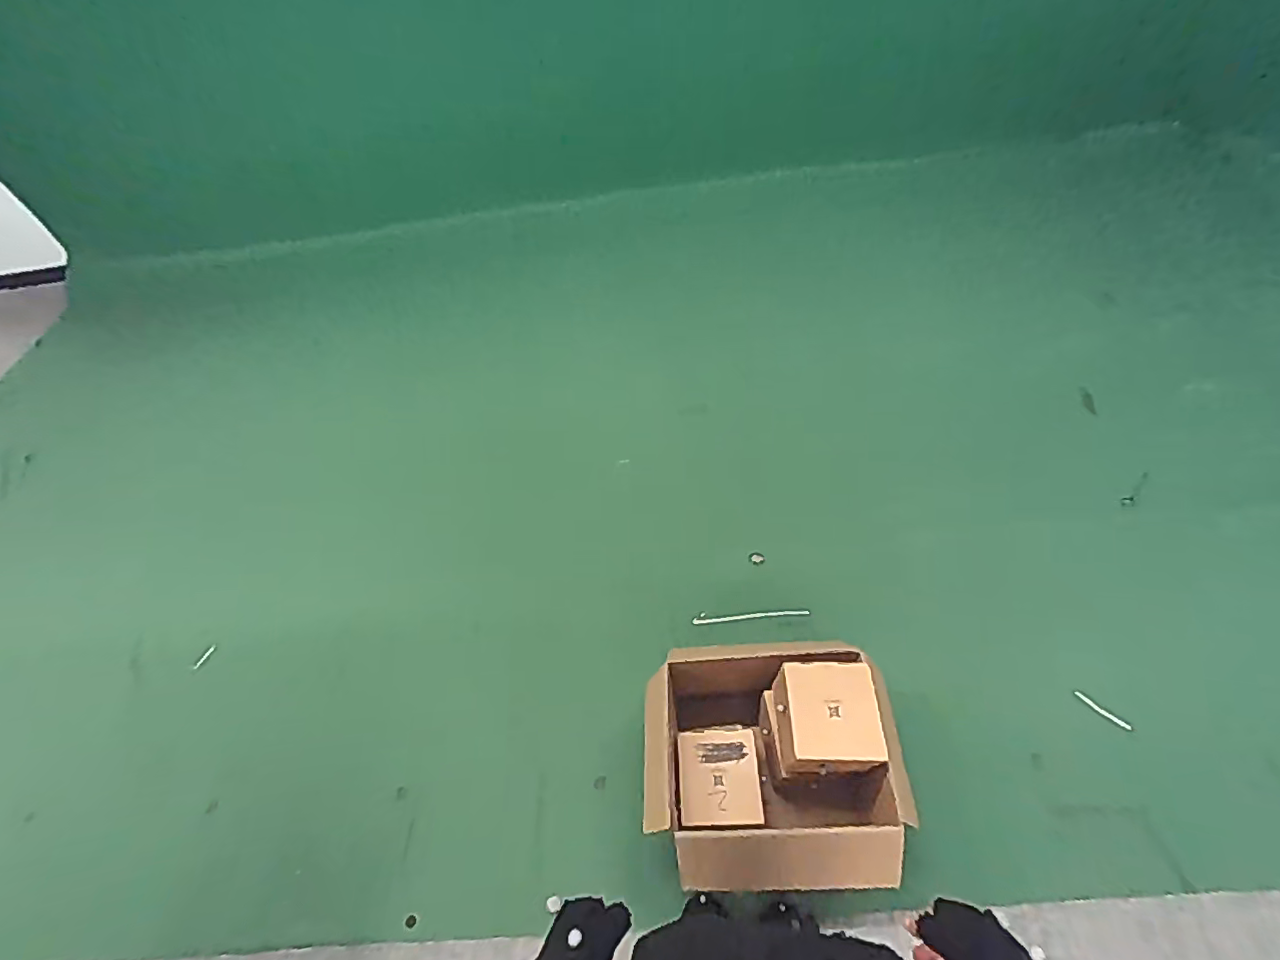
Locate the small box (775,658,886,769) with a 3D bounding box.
[{"bbox_3d":[0.367,0.468,1.075,0.168,0.176,0.179,-1,54,5],"label":"small box"}]
